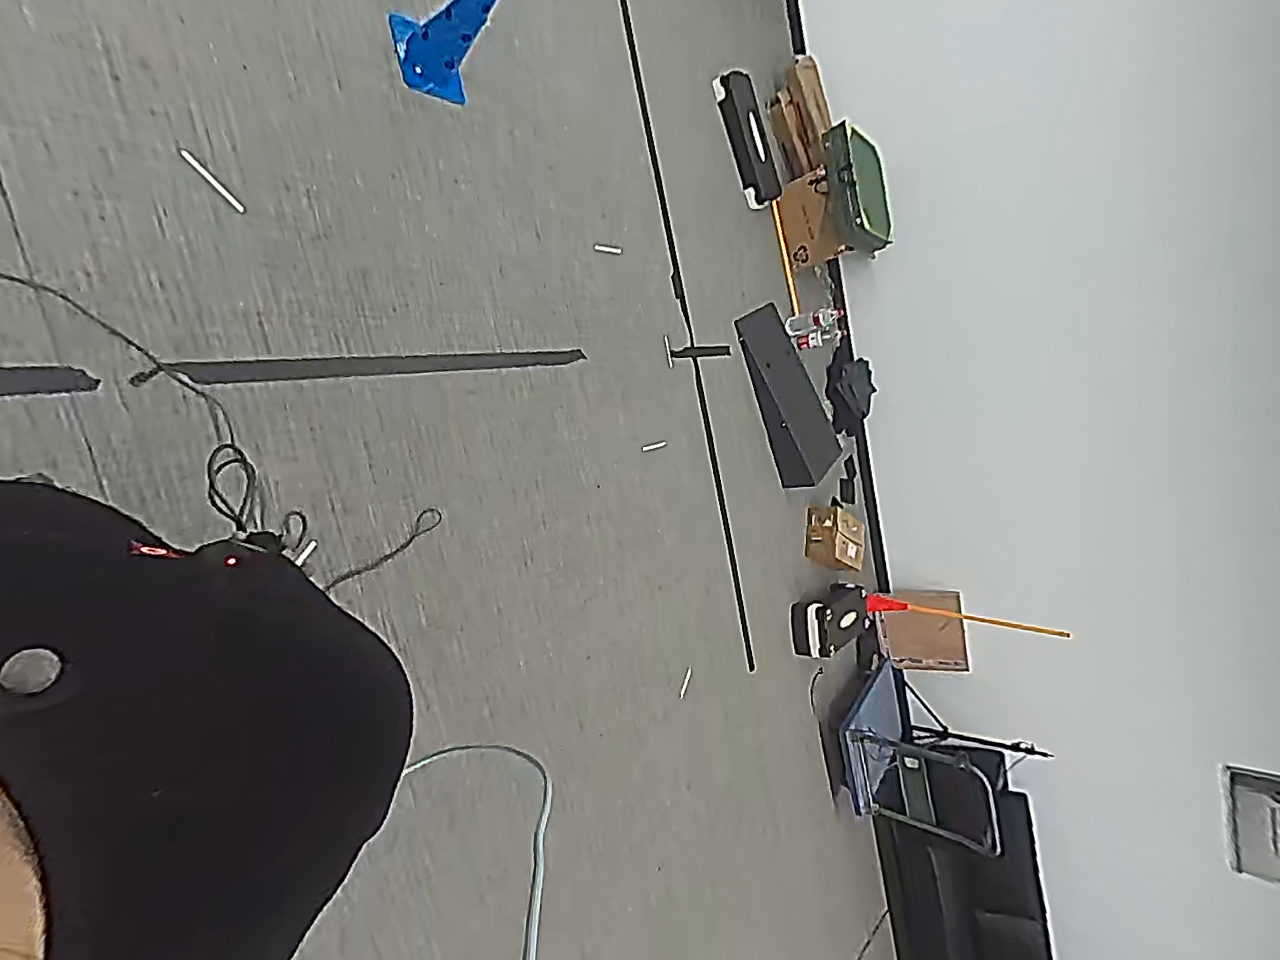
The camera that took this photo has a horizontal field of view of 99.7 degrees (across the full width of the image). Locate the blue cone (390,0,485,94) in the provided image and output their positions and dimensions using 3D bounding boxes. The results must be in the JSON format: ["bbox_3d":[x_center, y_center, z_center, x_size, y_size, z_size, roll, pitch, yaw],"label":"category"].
[{"bbox_3d":[-0.494,-1.251,1.462,0.193,0.380,0.192,-17,98,-49],"label":"blue cone"}]
